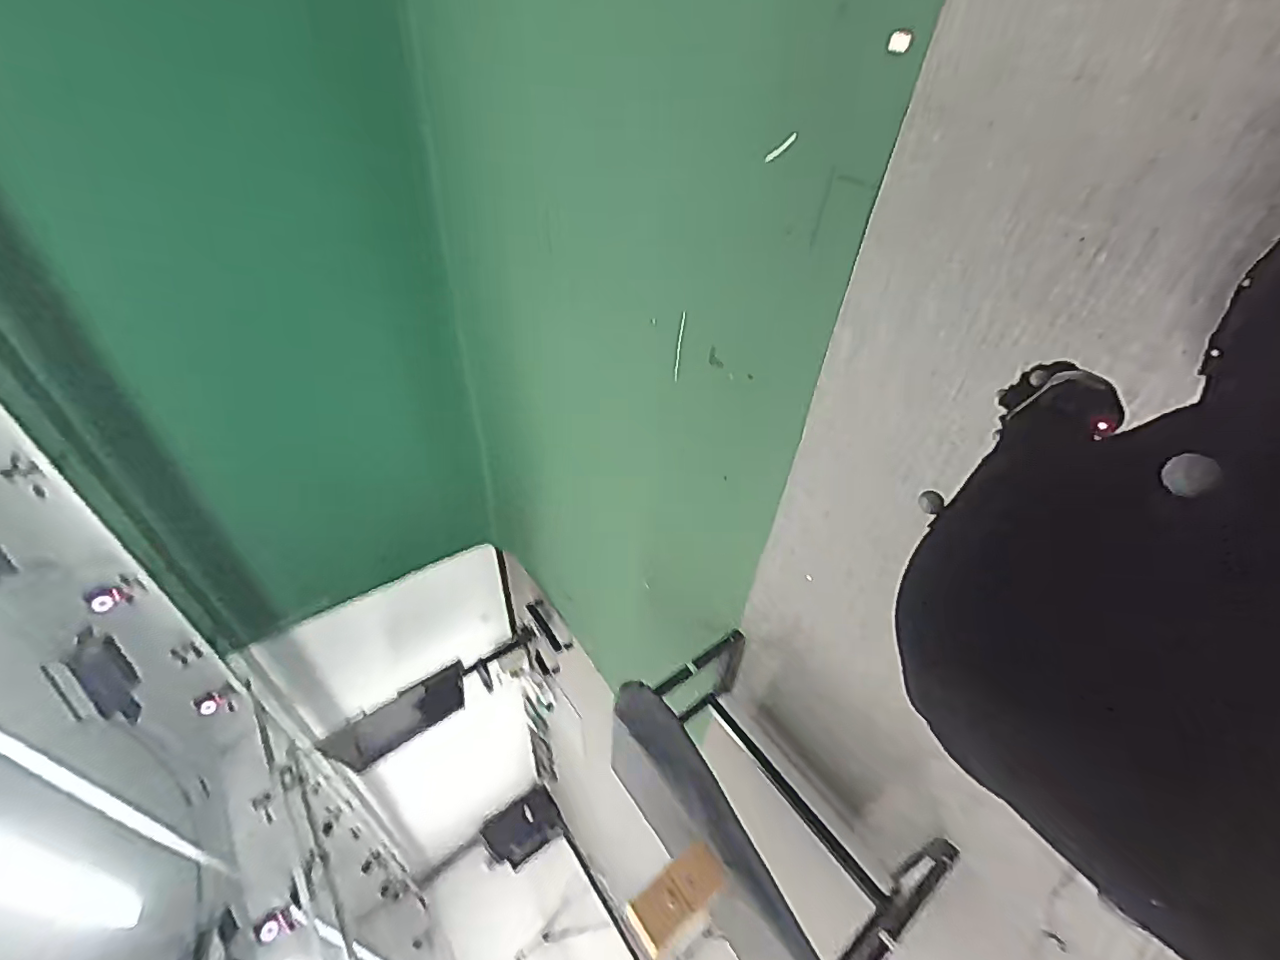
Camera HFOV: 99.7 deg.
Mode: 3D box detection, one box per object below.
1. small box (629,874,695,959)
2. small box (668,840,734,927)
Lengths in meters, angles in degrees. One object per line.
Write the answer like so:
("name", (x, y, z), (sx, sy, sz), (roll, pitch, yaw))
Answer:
("small box", (0.077, 1.540, 1.897), (0.168, 0.176, 0.179), (40, 142, 36))
("small box", (0.221, 1.471, 1.977), (0.179, 0.176, 0.168), (44, 144, 36))
